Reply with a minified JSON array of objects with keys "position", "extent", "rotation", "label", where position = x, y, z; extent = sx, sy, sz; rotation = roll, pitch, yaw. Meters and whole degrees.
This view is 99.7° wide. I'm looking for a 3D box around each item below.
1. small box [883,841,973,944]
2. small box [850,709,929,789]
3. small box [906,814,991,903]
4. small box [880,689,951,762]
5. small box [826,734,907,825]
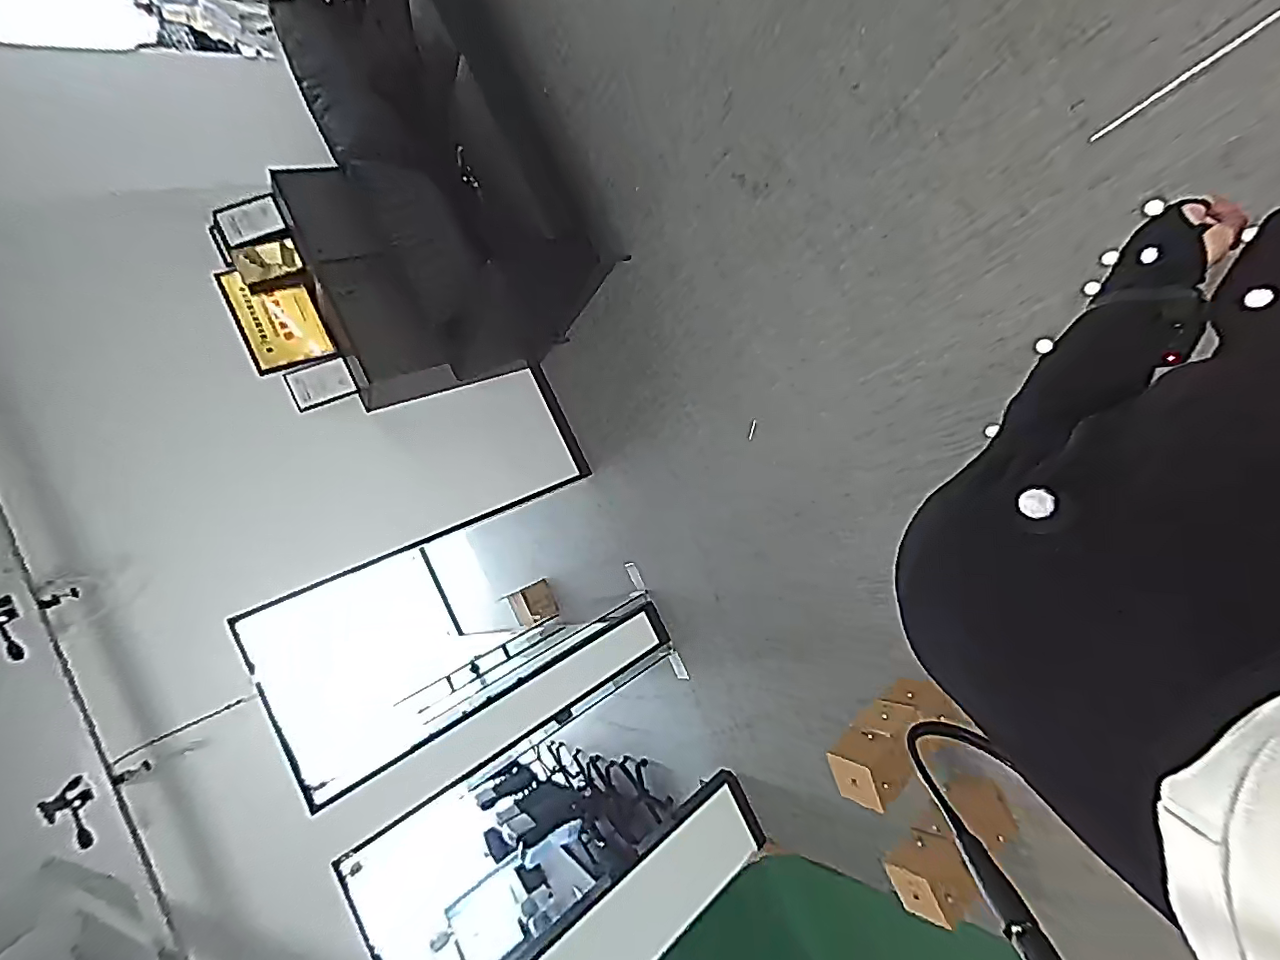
[{"position":[0.942,1.336,1.763],"extent":[0.168,0.176,0.179],"rotation":[-31,83,57],"label":"small box"},{"position":[0.885,0.943,1.914],"extent":[0.168,0.176,0.179],"rotation":[-18,95,58],"label":"small box"},{"position":[1.068,1.290,1.861],"extent":[0.179,0.176,0.168],"rotation":[-33,81,58],"label":"small box"},{"position":[1.018,0.896,1.994],"extent":[0.179,0.176,0.168],"rotation":[-16,95,56],"label":"small box"},{"position":[0.765,0.999,1.818],"extent":[0.168,0.176,0.179],"rotation":[-11,101,56],"label":"small box"}]
